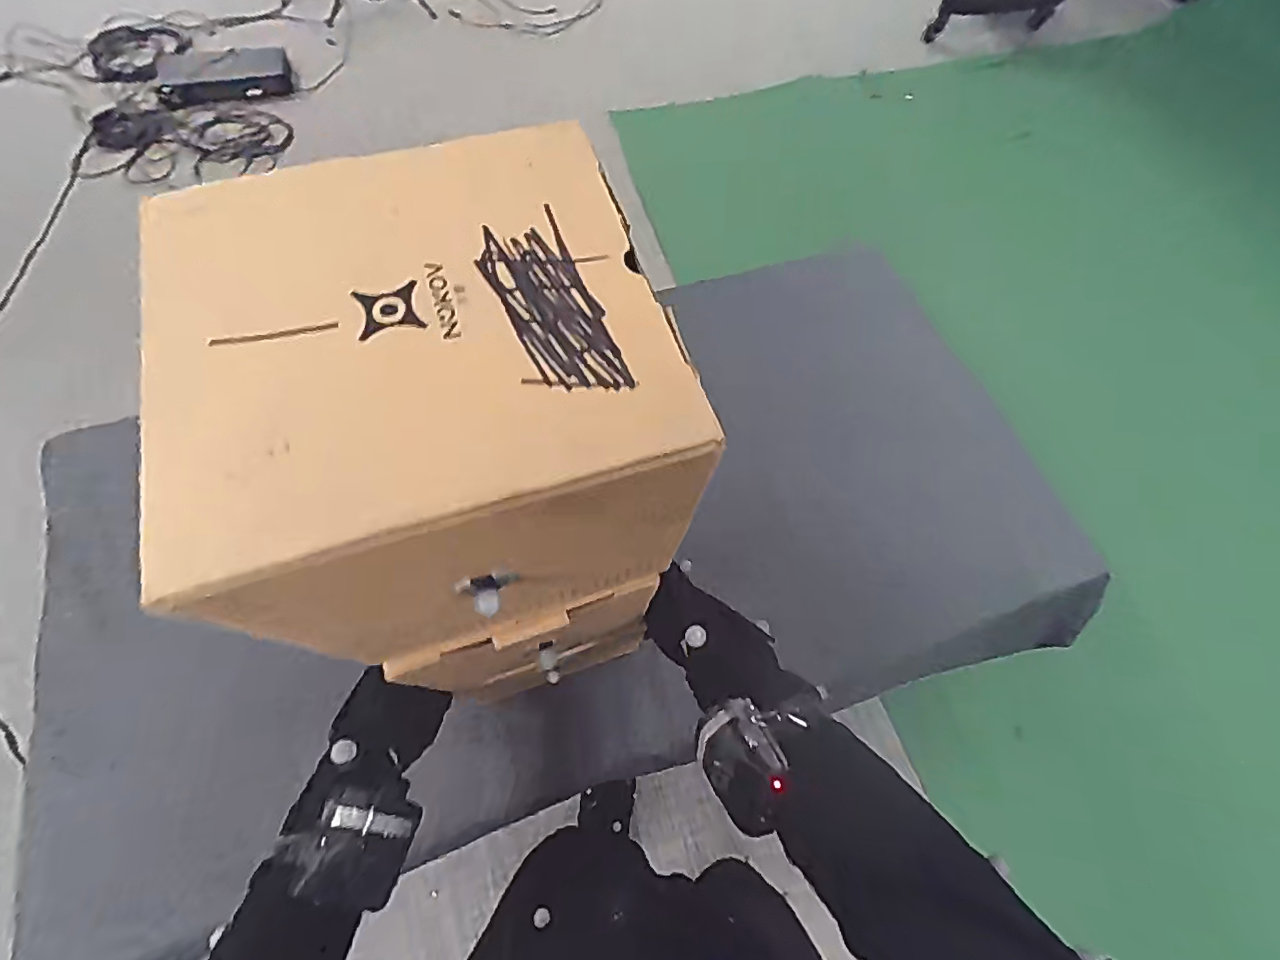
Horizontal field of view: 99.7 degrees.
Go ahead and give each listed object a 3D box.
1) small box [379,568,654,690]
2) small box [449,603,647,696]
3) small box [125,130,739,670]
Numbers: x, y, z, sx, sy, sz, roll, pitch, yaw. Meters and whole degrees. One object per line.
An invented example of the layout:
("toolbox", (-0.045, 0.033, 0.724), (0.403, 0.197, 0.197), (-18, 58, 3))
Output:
("small box", (-0.099, 0.044, 0.410), (0.168, 0.176, 0.179), (-17, 70, -12))
("small box", (-0.107, 0.112, 0.558), (0.179, 0.176, 0.168), (-17, 70, -13))
("small box", (-0.083, -0.023, 0.259), (0.179, 0.176, 0.168), (-19, 70, -14))
